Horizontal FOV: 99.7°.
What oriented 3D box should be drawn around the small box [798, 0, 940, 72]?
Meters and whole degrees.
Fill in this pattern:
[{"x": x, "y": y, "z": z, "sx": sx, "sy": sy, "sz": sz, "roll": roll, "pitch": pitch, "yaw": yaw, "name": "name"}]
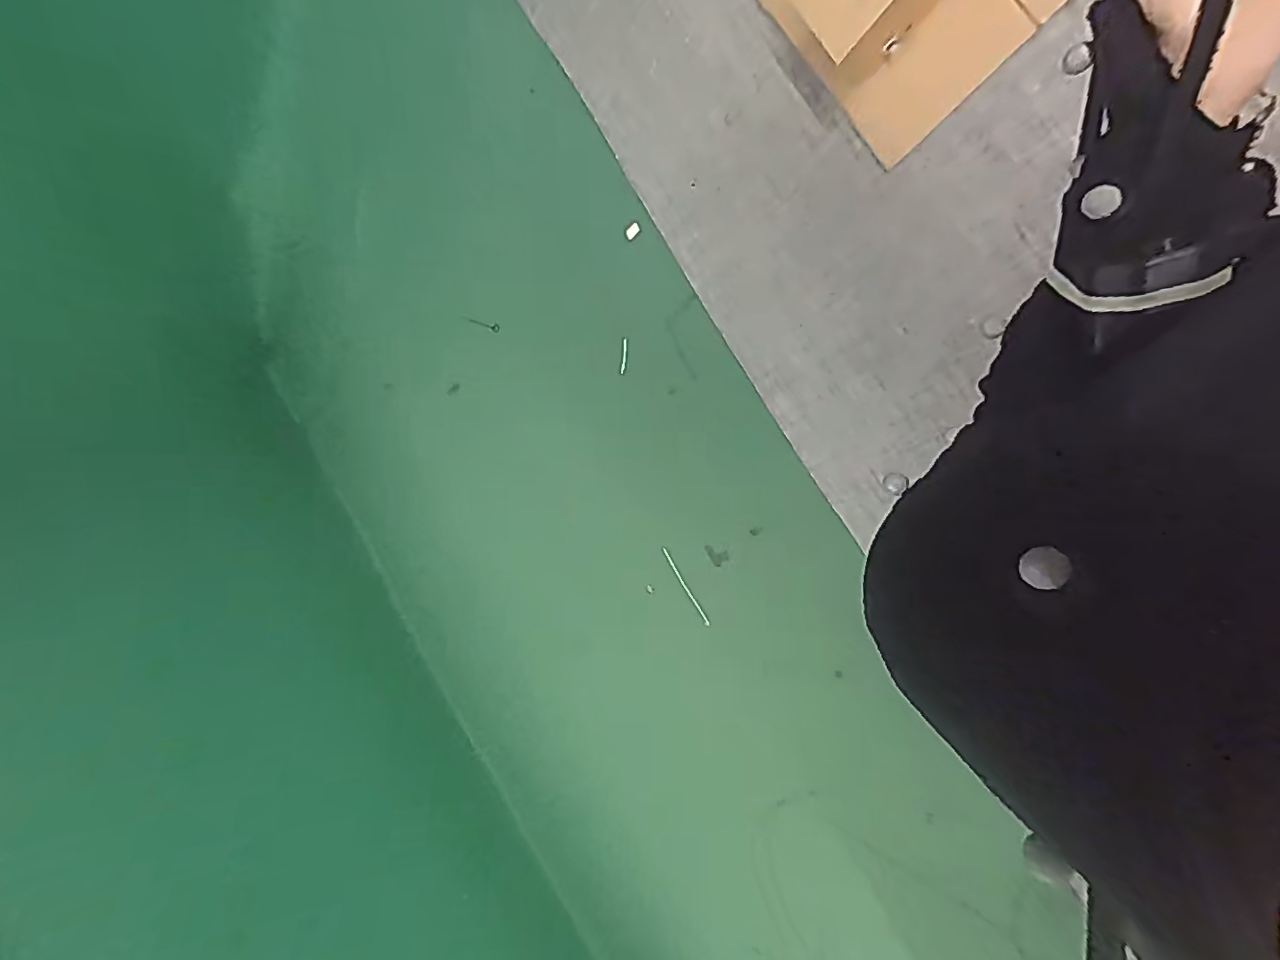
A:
[{"x": 0.418, "y": -0.898, "z": 0.994, "sx": 0.168, "sy": 0.176, "sz": 0.179, "roll": -38, "pitch": 84, "yaw": 45, "name": "small box"}]
